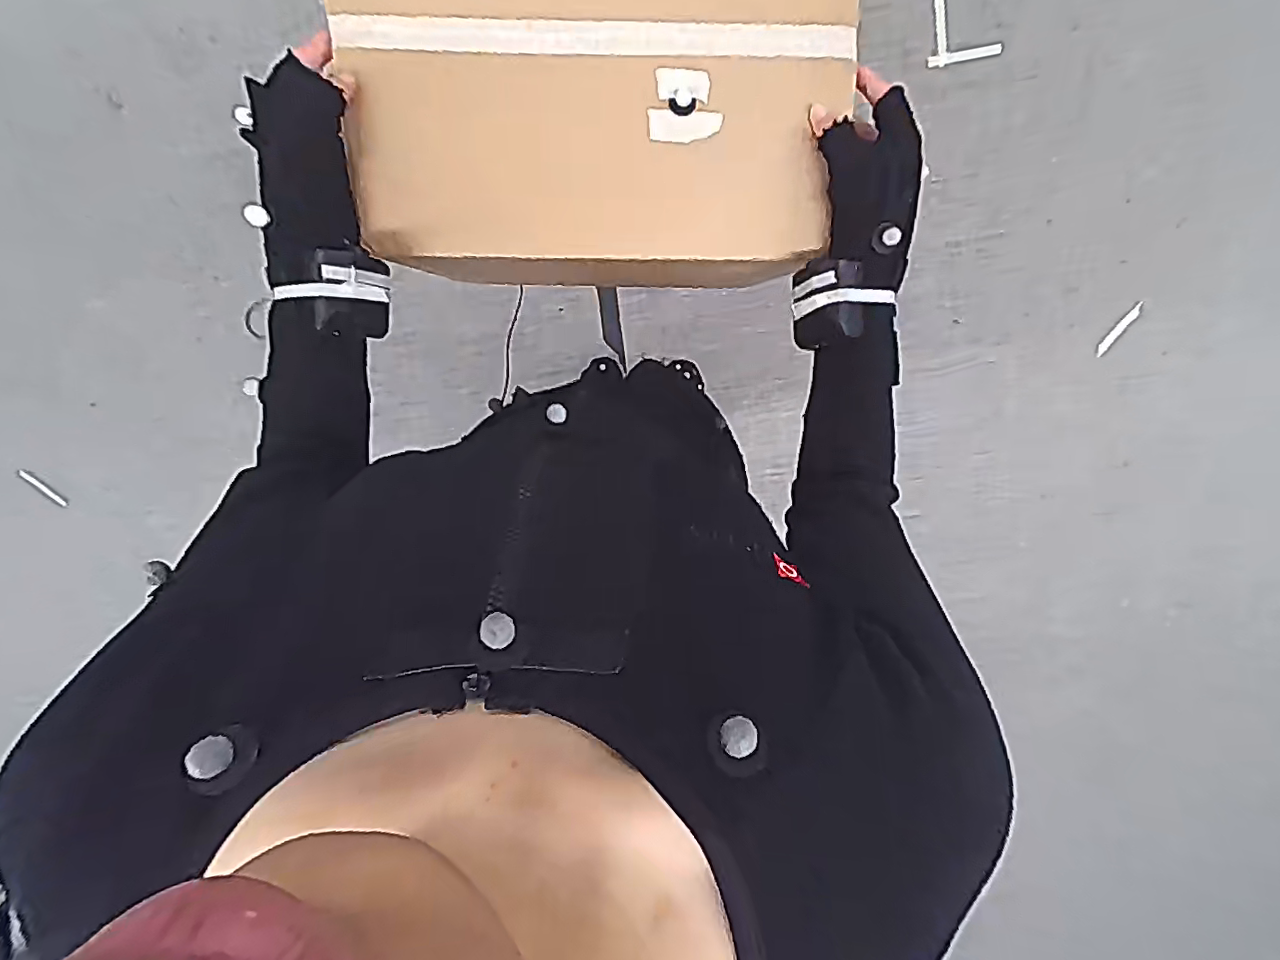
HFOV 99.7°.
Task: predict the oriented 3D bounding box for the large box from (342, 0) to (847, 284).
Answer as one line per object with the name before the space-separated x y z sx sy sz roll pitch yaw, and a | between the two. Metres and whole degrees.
large box | -0.041 -0.388 0.574 0.408 0.320 0.320 -1 106 -2
